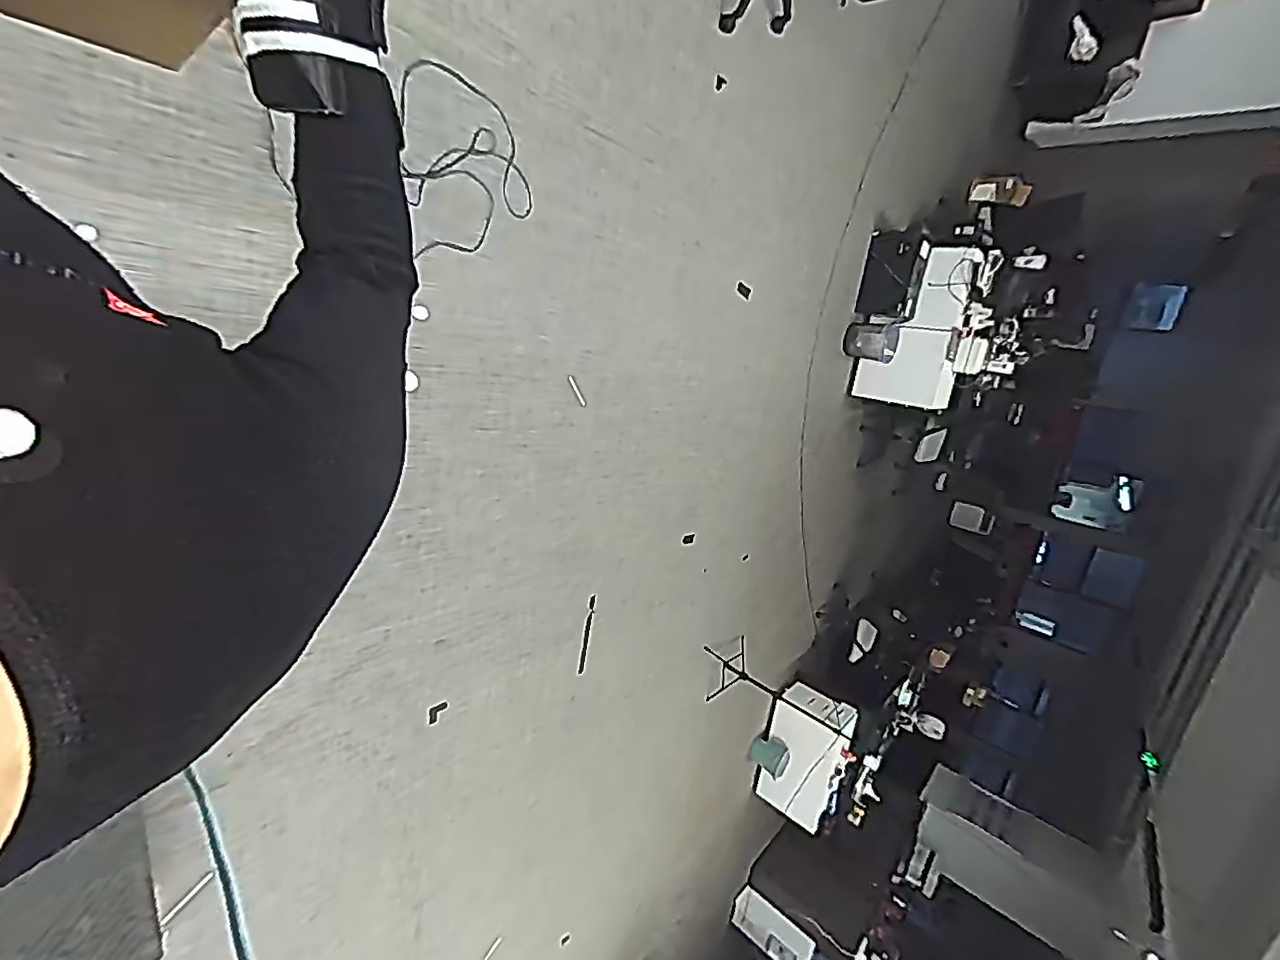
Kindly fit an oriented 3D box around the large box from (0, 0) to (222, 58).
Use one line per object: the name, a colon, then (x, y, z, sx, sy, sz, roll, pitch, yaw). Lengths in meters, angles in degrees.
large box: (-0.452, -0.475, 0.237, 0.408, 0.320, 0.320, -11, 114, -47)
